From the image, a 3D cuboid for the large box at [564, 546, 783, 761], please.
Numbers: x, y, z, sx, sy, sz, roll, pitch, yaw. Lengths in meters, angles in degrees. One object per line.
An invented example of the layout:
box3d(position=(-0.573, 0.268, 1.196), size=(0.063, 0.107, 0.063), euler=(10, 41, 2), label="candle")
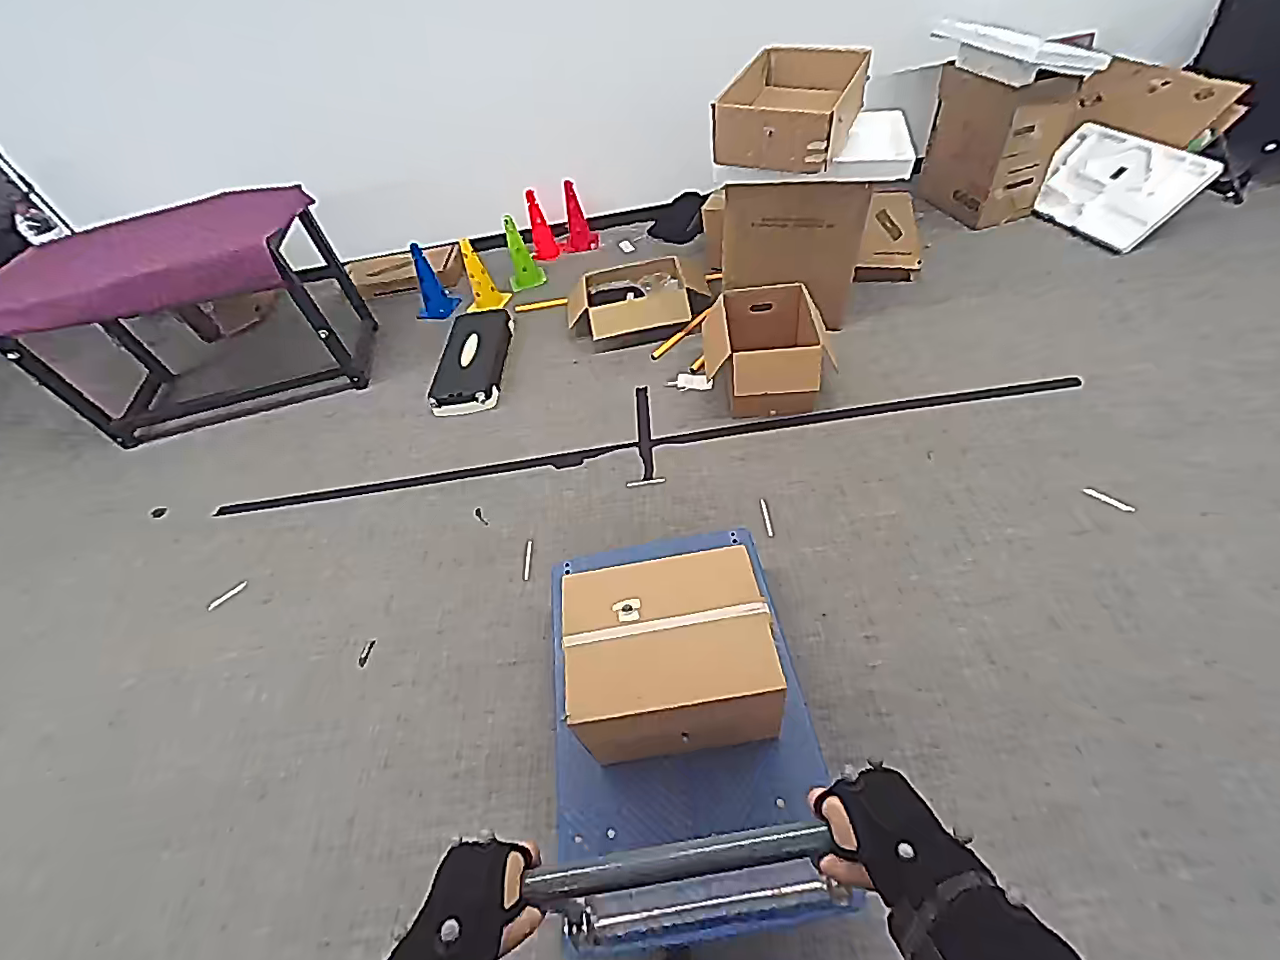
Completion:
box3d(position=(0.071, 0.390, 1.195), size=(0.408, 0.320, 0.320), euler=(-11, 48, 2), label="large box")
